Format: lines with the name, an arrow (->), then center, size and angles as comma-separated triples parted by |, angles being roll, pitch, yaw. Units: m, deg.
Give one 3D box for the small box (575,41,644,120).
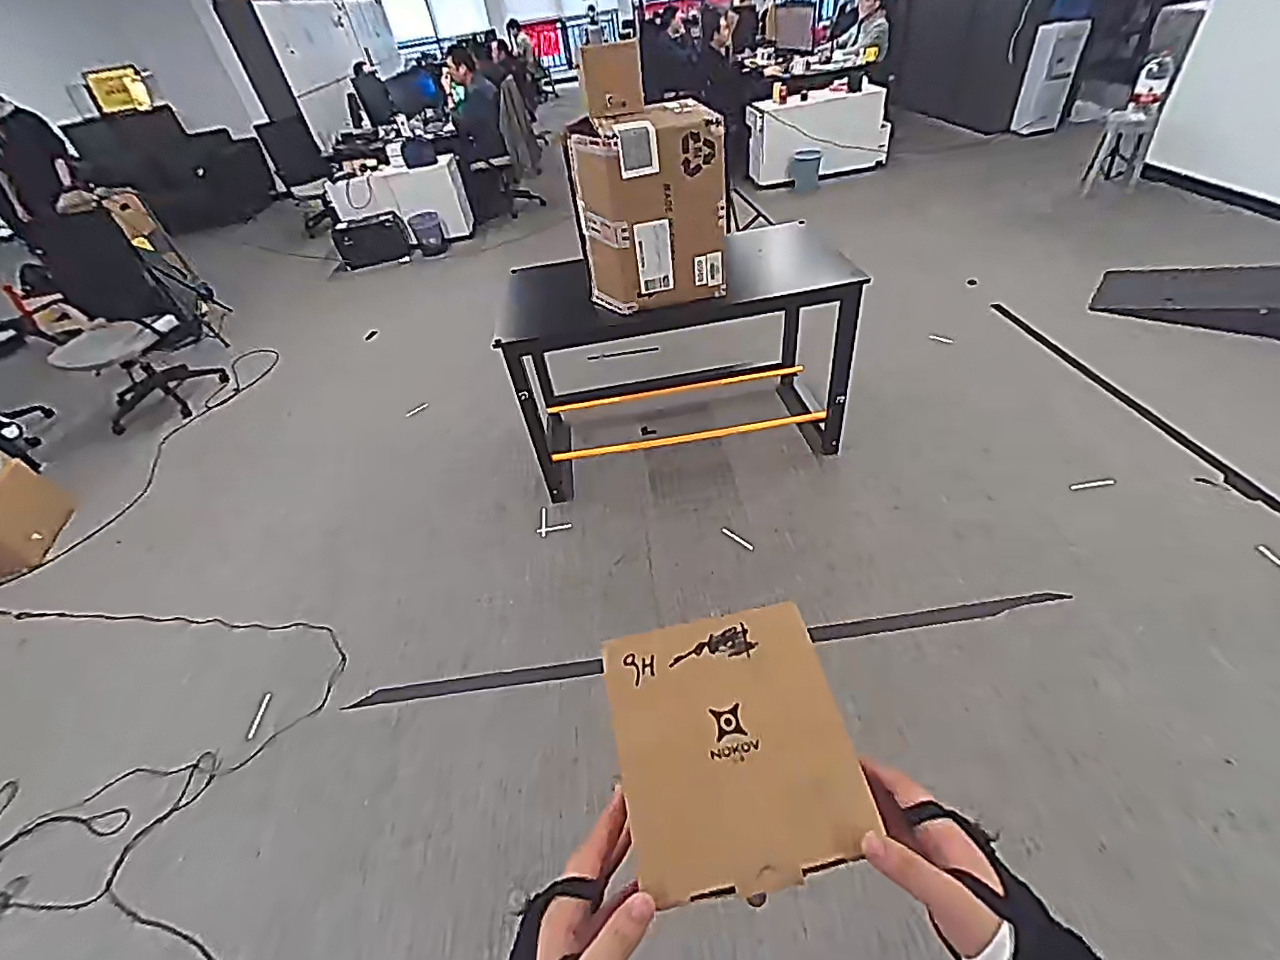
small box -> -0.089, -1.171, 1.589 | 0.168, 0.176, 0.179 | -13, 40, -4
